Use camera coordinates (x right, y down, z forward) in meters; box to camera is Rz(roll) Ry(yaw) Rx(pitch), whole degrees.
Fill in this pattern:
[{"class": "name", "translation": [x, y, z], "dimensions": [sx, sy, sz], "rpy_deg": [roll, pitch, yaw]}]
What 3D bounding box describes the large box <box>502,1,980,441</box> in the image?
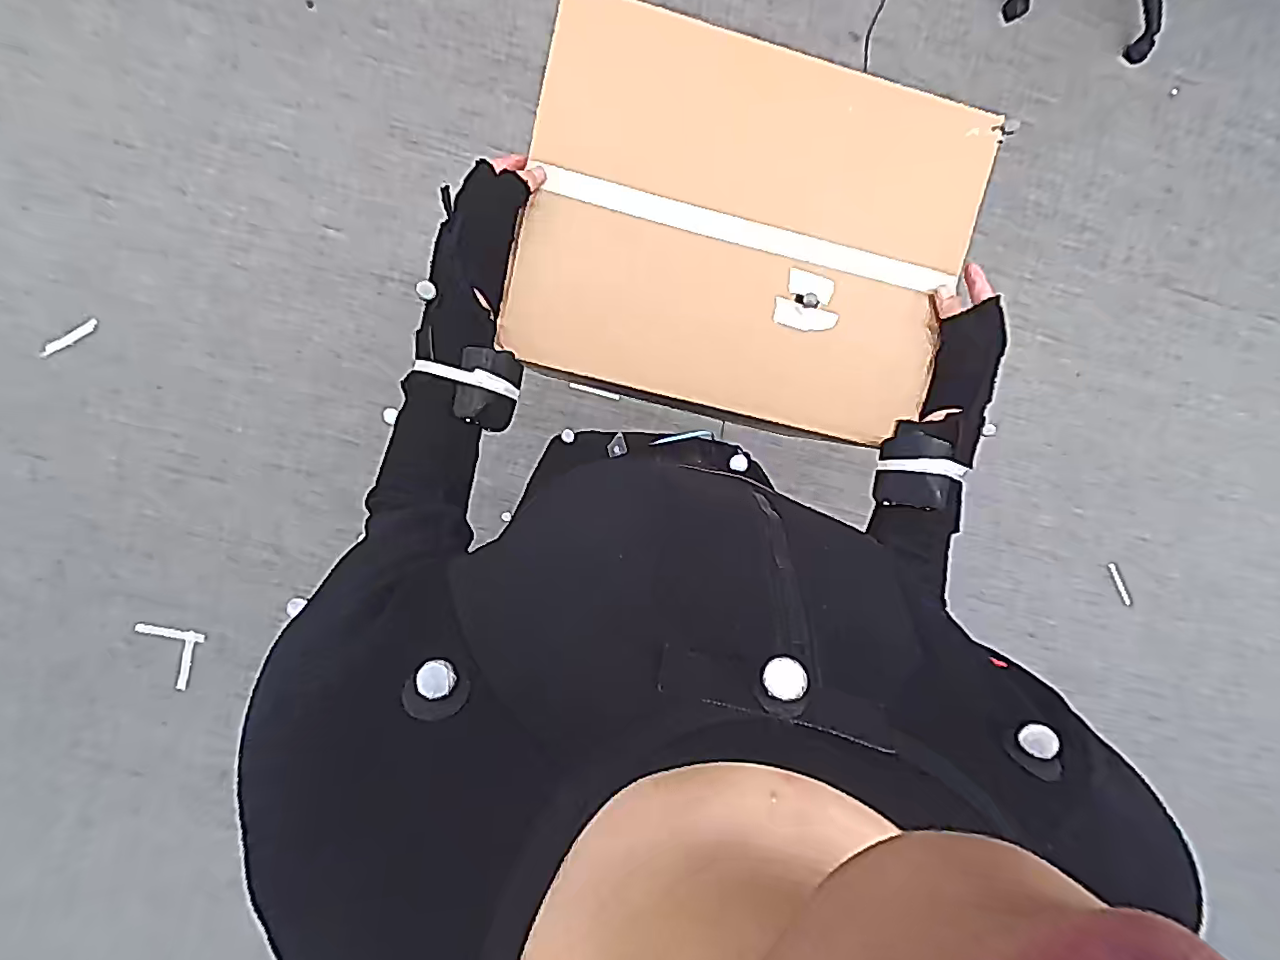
[{"class": "large box", "translation": [0.082, -0.246, 0.648], "dimensions": [0.408, 0.320, 0.320], "rpy_deg": [13, 97, -7]}]
